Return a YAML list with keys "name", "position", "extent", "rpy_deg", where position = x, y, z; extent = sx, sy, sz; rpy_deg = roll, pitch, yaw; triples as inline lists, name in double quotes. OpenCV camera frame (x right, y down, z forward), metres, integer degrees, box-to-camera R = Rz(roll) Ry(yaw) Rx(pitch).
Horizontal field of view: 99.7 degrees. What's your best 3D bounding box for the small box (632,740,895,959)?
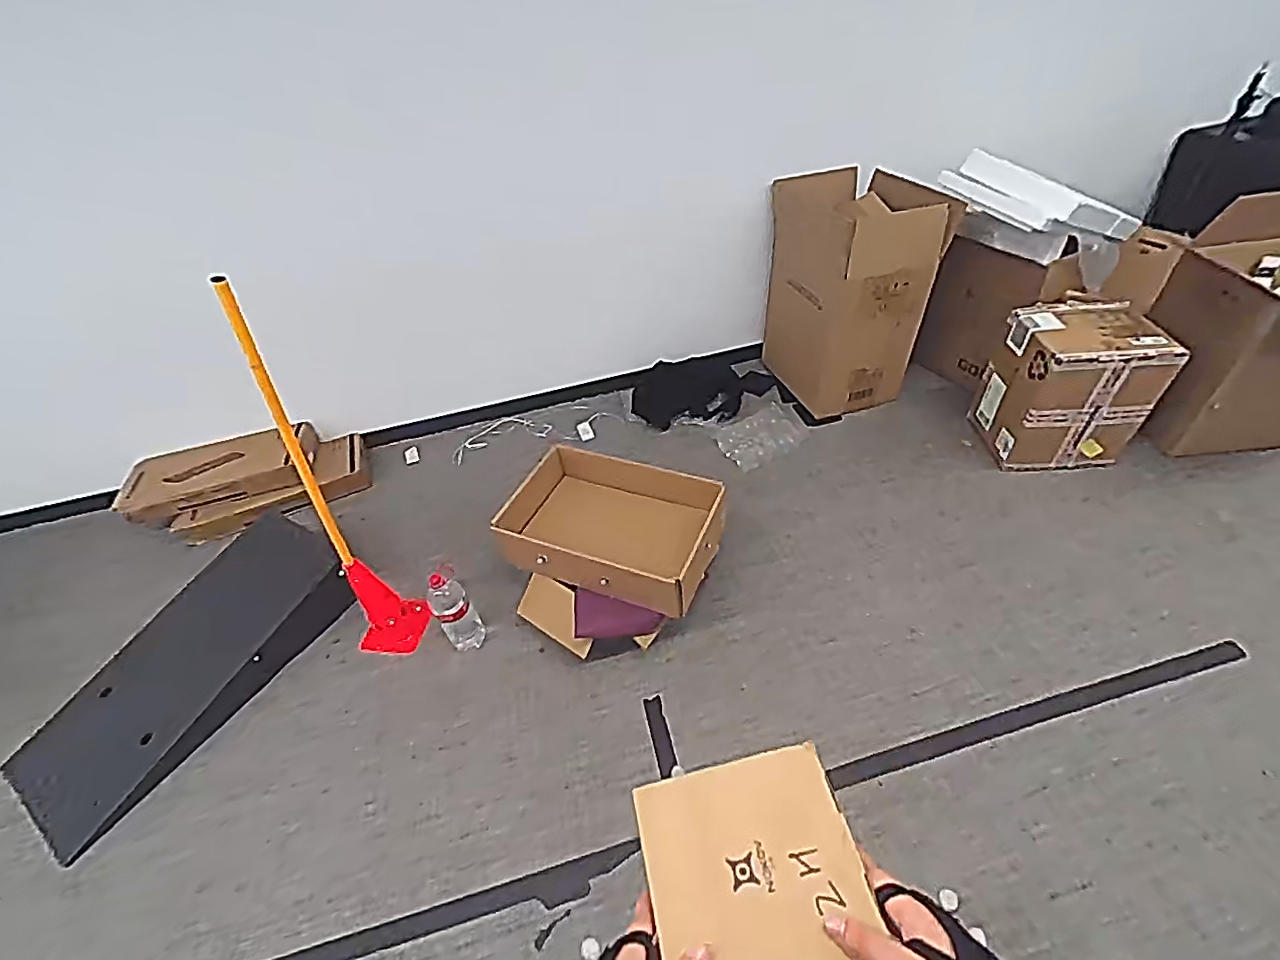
- name: "small box"
  position: [0.102, 0.372, 0.508]
  extent: [0.179, 0.176, 0.168]
  rpy_deg: [-13, 49, -3]
